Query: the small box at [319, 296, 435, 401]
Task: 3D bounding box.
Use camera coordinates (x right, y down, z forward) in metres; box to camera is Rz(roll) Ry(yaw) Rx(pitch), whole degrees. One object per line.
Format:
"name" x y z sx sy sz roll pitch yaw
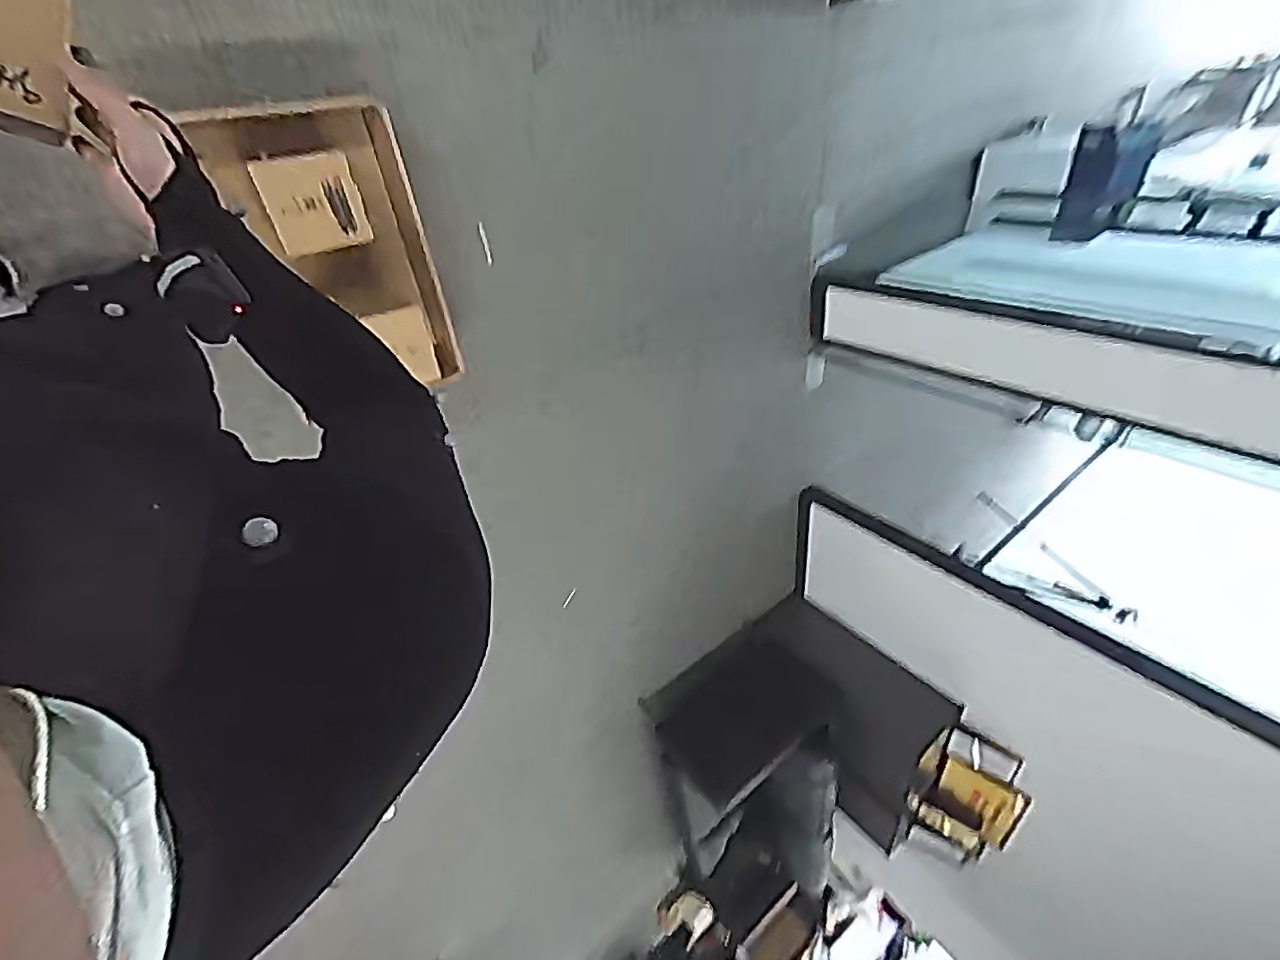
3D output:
"small box" -0.581 -0.294 1.186 0.179 0.176 0.168 -25 128 -28

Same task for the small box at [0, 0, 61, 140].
"small box" -0.586 -0.405 0.431 0.168 0.176 0.179 1 107 -47
